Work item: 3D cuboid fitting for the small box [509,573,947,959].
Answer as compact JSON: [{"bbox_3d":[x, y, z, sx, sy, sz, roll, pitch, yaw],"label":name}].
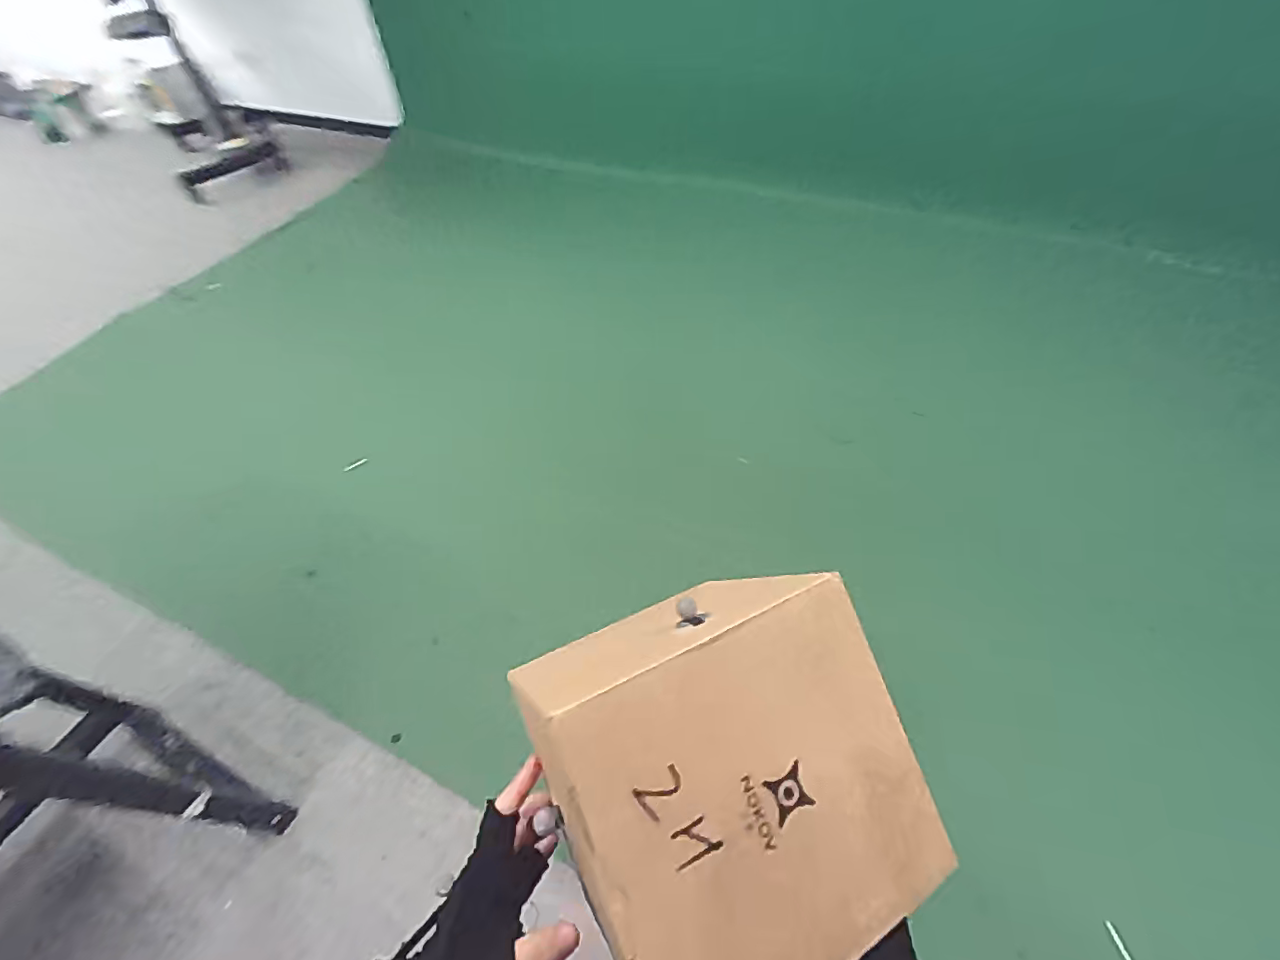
[{"bbox_3d":[0.035,0.167,0.335,0.179,0.176,0.168,-19,84,-24],"label":"small box"}]
